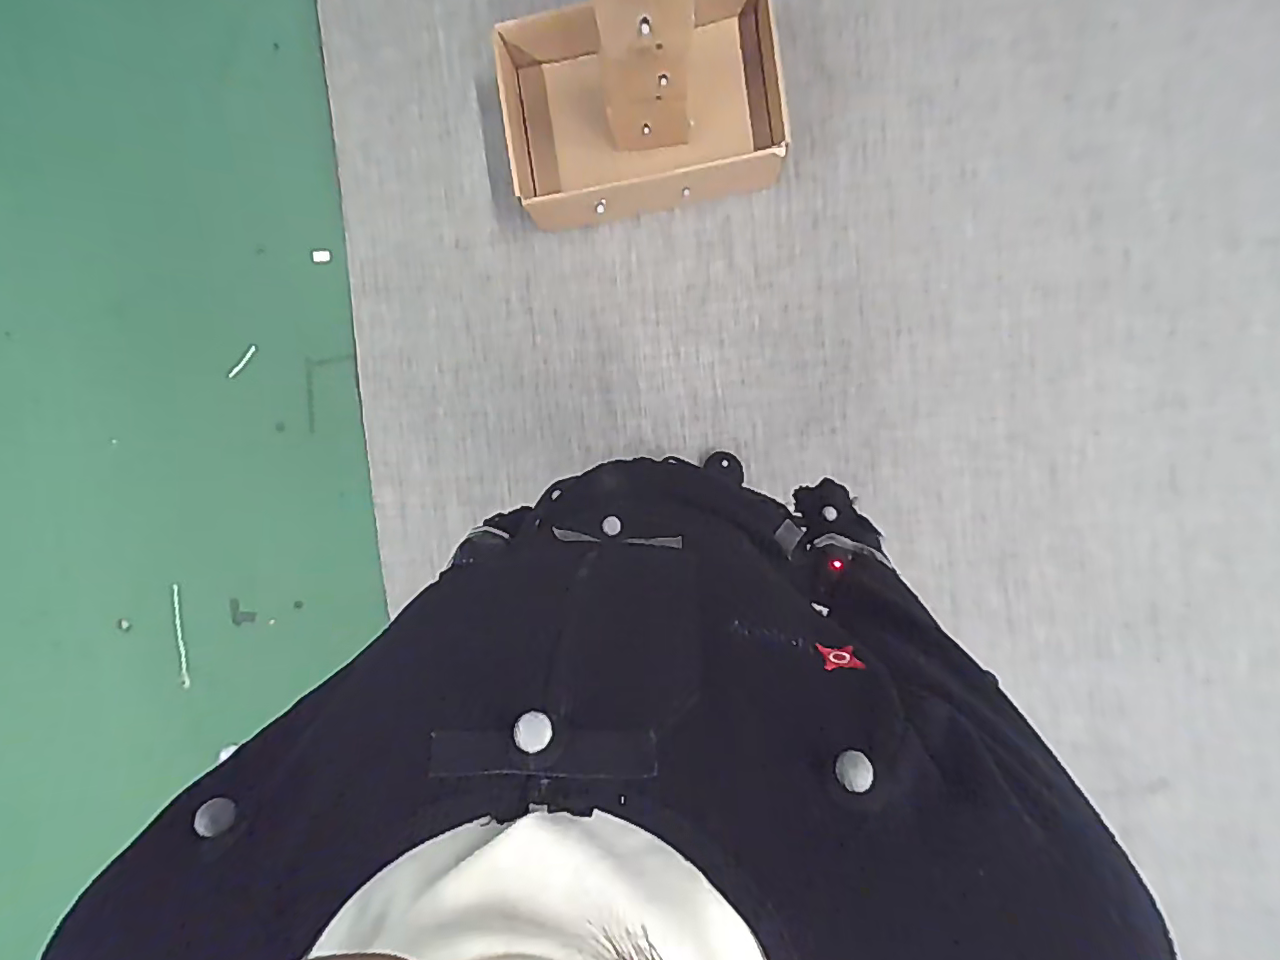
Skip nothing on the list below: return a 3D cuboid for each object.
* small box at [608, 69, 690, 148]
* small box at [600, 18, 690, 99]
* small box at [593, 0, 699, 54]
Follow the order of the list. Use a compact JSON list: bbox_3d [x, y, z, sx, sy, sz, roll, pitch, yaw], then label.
[{"bbox_3d":[0.027,-0.903,1.254,0.179,0.176,0.168,-1,93,9],"label":"small box"},{"bbox_3d":[0.015,-0.894,1.077,0.168,0.176,0.179,0,93,5],"label":"small box"},{"bbox_3d":[0.014,-0.879,0.934,0.168,0.176,0.179,0,94,10],"label":"small box"}]
